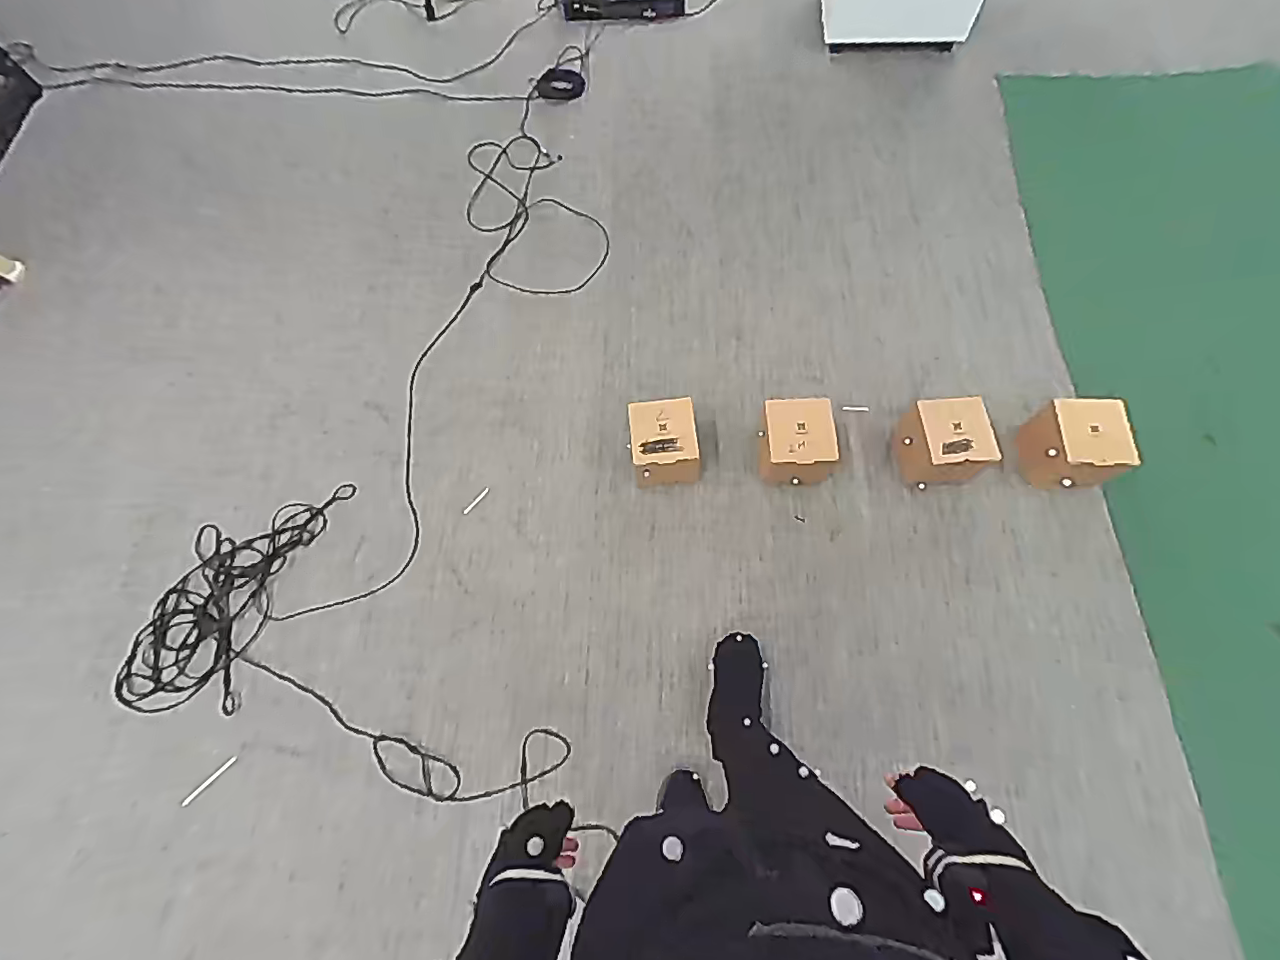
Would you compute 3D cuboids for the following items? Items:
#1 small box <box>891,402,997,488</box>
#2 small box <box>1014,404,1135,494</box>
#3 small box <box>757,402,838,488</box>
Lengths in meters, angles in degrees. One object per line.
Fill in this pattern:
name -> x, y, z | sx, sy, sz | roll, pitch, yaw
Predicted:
small box -> 0.781, -0.084, 1.409 | 0.168, 0.176, 0.179 | -3, 68, 1
small box -> 1.105, -0.078, 1.394 | 0.168, 0.176, 0.179 | 2, 69, 4
small box -> 0.406, -0.089, 1.425 | 0.168, 0.176, 0.179 | -1, 70, 3
